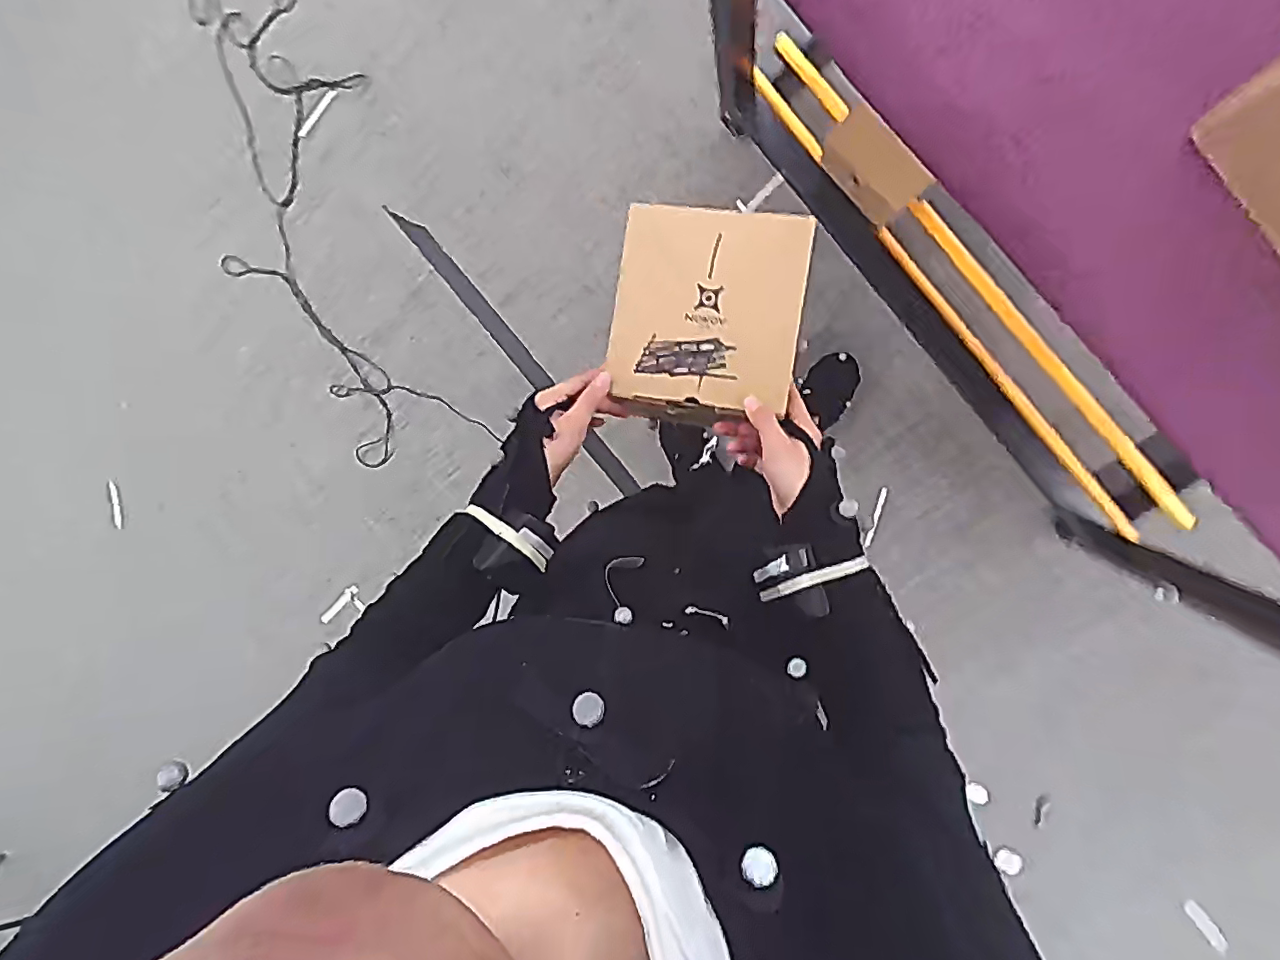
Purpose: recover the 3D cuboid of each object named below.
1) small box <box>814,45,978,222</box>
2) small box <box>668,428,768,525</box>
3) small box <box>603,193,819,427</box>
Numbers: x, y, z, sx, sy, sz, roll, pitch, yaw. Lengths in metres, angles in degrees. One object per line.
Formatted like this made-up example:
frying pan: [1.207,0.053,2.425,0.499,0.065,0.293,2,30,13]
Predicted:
small box: [0.424,-0.573,0.929,0.179,0.176,0.168,45,108,0]
small box: [0.171,-0.010,1.196,0.179,0.176,0.168,-18,96,11]
small box: [0.071,-0.155,0.547,0.168,0.176,0.179,9,90,7]
